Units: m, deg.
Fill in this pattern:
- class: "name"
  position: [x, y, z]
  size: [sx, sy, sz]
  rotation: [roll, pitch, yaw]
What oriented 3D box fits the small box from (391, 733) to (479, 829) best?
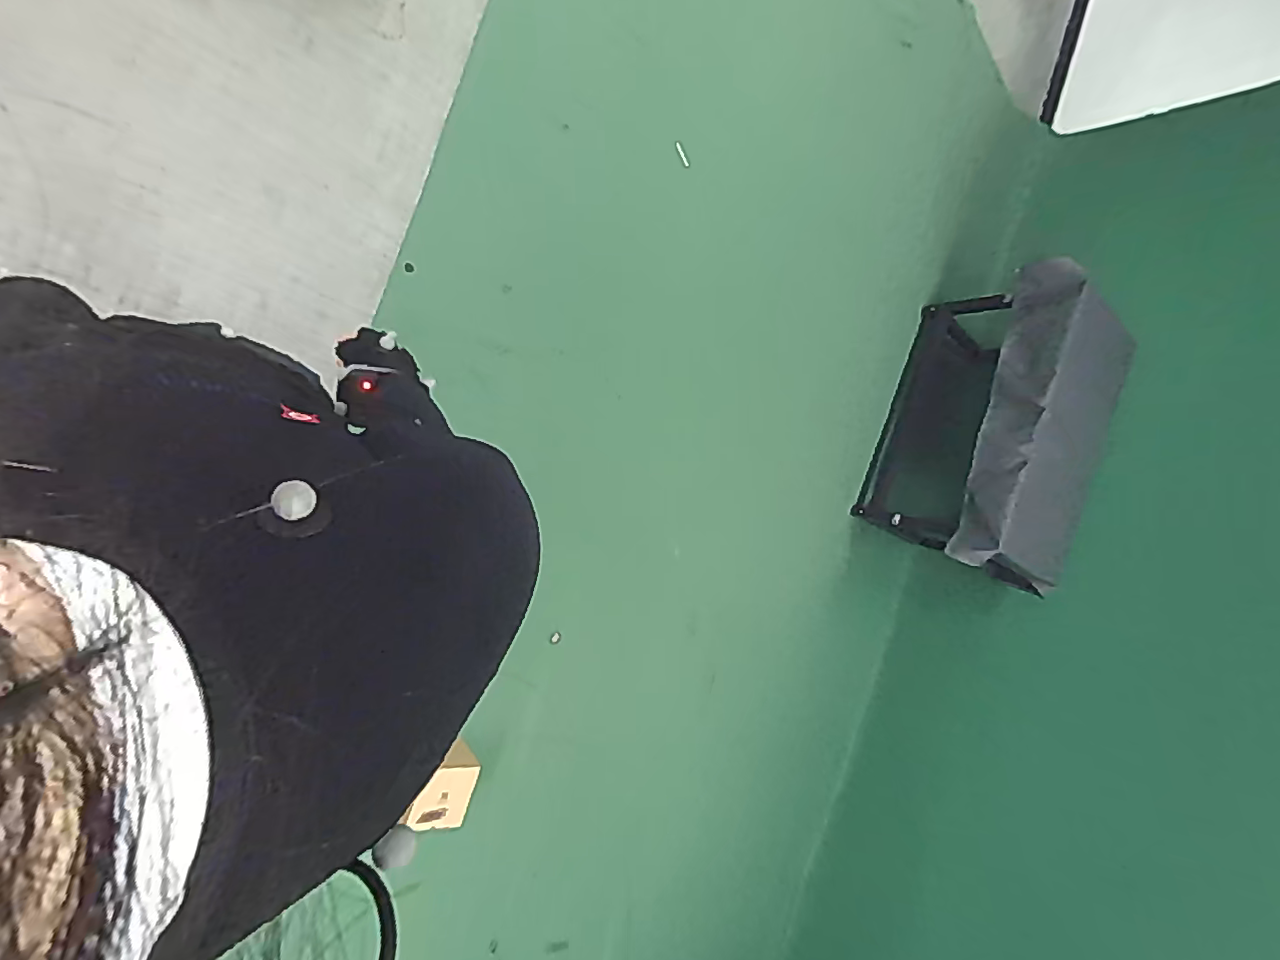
- class: "small box"
  position: [-0.593, 0.856, 1.549]
  size: [0.168, 0.176, 0.179]
  rotation: [22, 86, -39]
